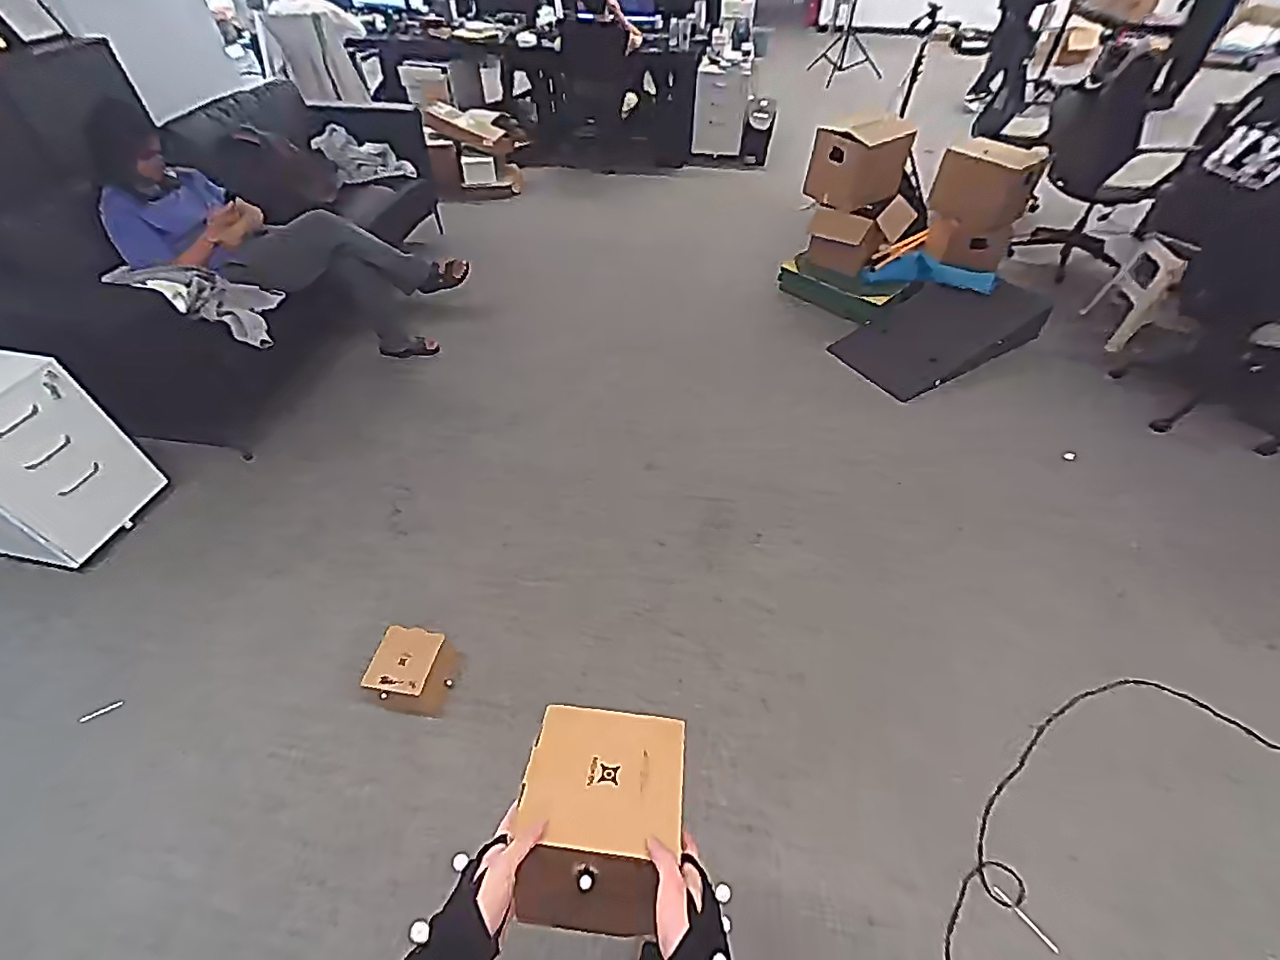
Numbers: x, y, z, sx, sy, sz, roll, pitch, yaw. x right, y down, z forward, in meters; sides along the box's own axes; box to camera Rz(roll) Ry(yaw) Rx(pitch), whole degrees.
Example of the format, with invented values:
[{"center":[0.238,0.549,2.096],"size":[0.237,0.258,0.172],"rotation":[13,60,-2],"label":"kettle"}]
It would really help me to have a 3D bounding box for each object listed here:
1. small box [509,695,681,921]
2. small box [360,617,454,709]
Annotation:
[{"center":[-0.048,0.390,0.651],"size":[0.179,0.176,0.168],"rotation":[7,29,2],"label":"small box"},{"center":[-0.641,0.514,1.516],"size":[0.168,0.176,0.179],"rotation":[8,48,7],"label":"small box"}]
